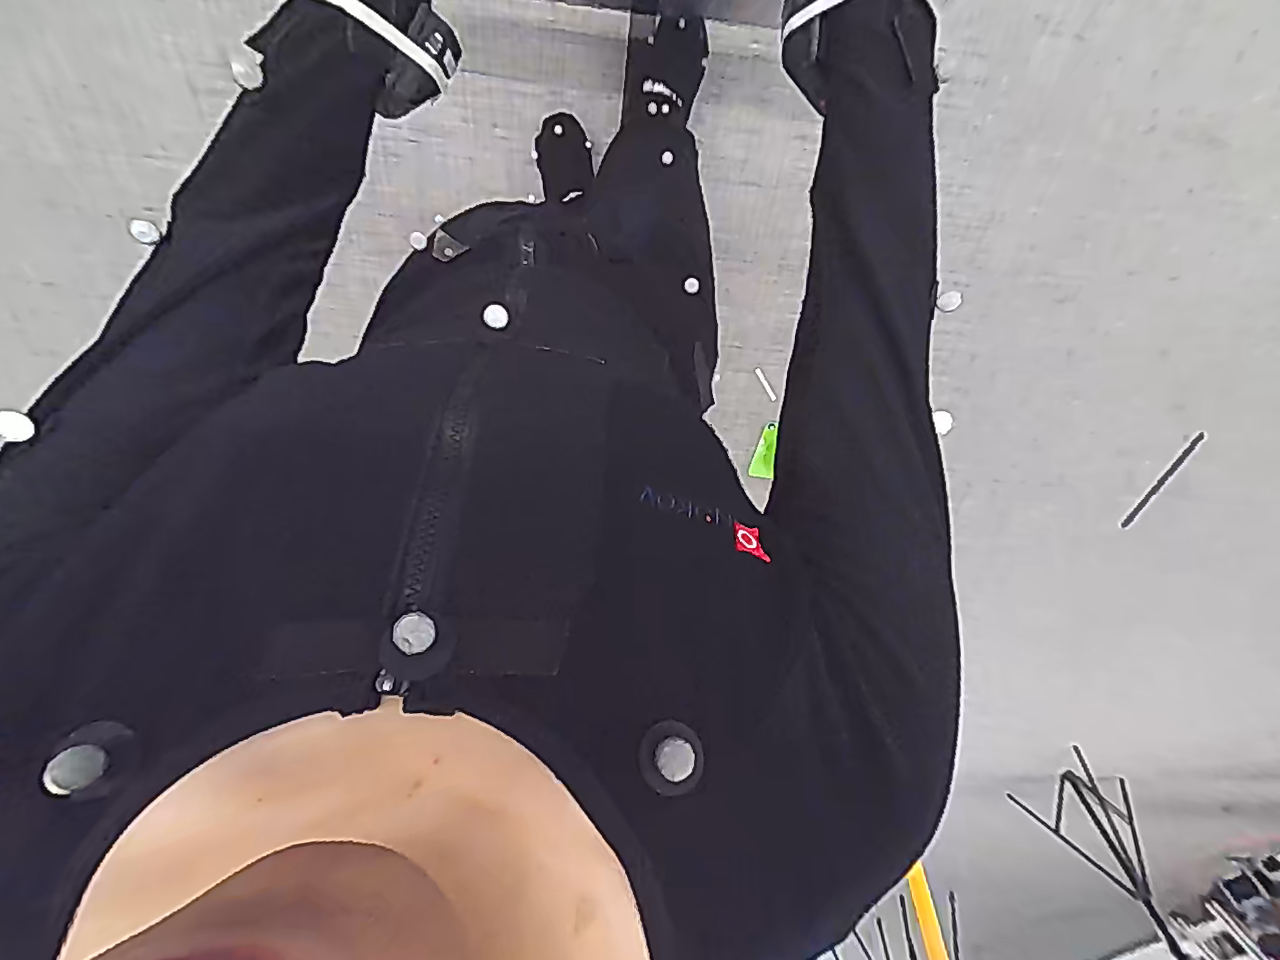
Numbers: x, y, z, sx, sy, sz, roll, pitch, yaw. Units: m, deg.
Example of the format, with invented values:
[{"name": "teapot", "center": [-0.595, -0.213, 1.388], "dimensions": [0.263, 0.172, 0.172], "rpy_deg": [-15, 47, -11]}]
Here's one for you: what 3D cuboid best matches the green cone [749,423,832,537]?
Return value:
[{"name": "green cone", "center": [0.460, 0.024, 1.525], "dimensions": [0.202, 0.368, 0.200], "rpy_deg": [7, 127, -8]}]
